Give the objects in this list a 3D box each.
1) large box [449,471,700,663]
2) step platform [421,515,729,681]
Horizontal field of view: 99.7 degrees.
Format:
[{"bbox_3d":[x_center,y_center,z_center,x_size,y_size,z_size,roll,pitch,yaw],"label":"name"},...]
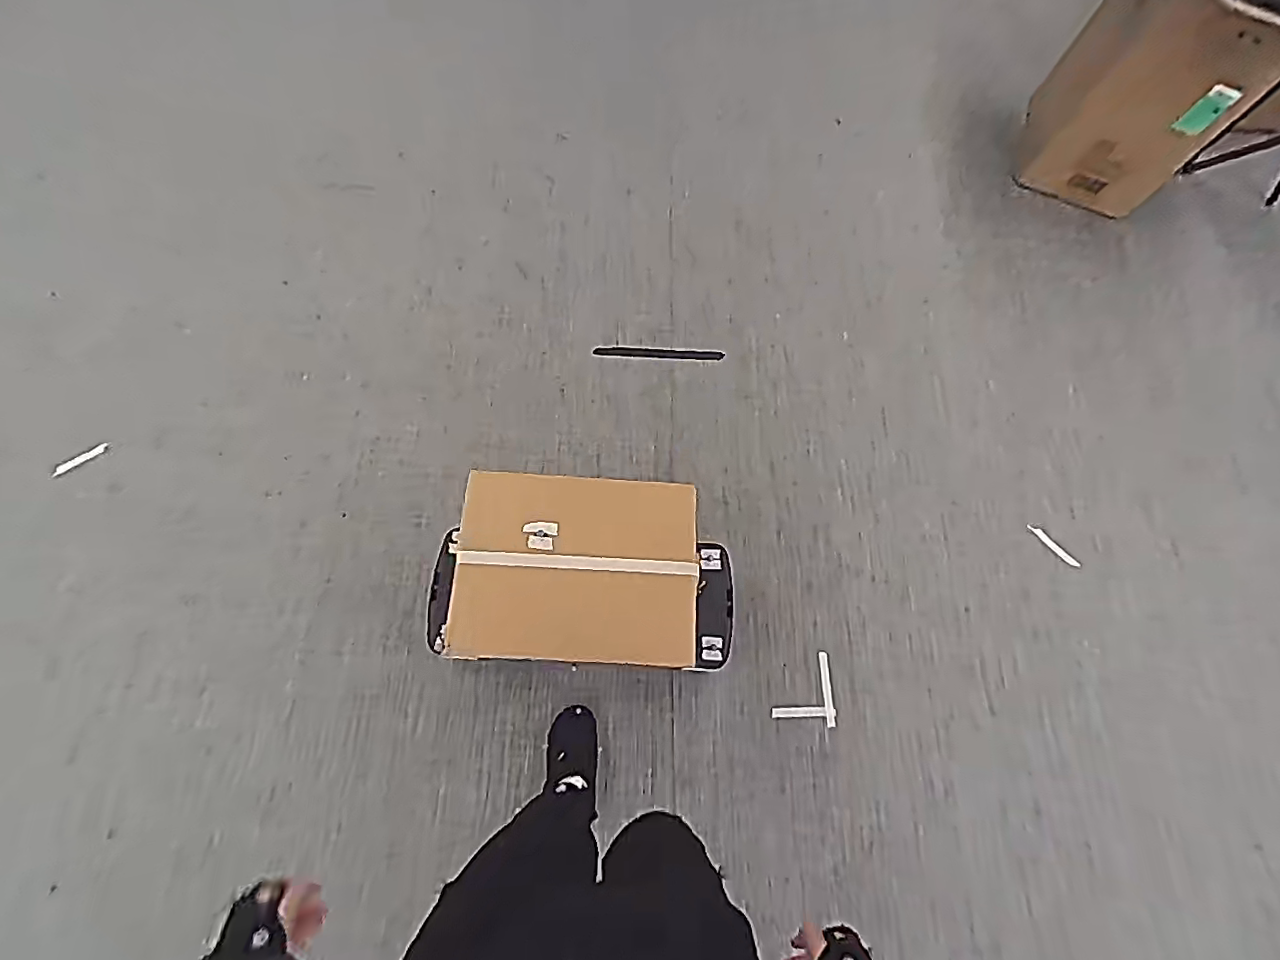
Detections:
[{"bbox_3d":[-0.104,0.184,1.043,0.408,0.320,0.320,3,70,-2],"label":"large box"},{"bbox_3d":[-0.138,0.276,1.262,0.684,0.204,0.286,9,71,0],"label":"step platform"}]
